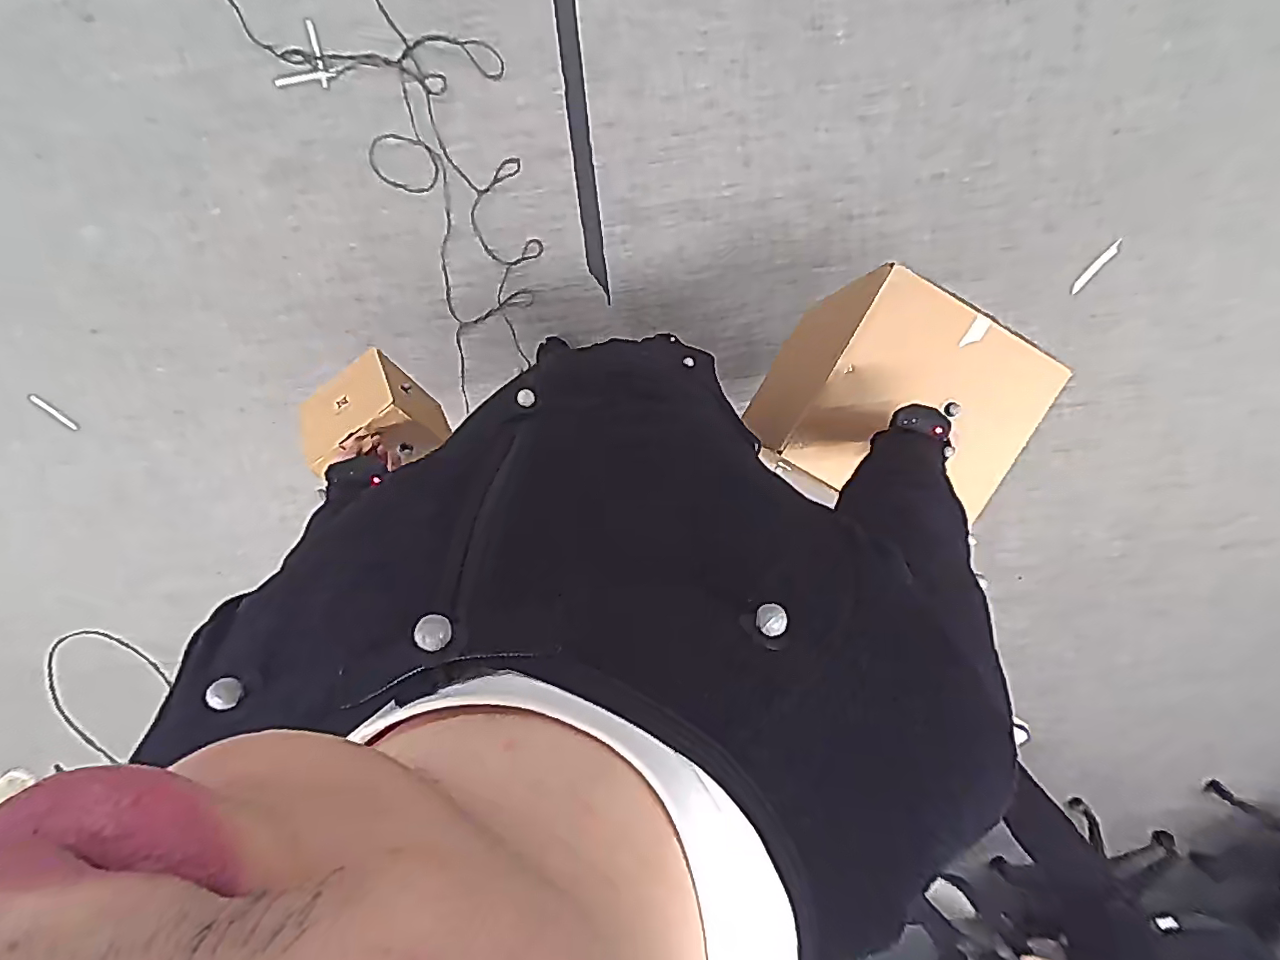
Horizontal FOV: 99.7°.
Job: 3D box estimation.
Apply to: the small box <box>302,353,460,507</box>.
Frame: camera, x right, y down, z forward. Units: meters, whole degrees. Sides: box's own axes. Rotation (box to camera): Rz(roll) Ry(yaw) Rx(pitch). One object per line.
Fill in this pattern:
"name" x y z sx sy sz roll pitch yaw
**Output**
"small box" -0.436 -0.075 0.923 0.168 0.179 0.176 -36 142 0
